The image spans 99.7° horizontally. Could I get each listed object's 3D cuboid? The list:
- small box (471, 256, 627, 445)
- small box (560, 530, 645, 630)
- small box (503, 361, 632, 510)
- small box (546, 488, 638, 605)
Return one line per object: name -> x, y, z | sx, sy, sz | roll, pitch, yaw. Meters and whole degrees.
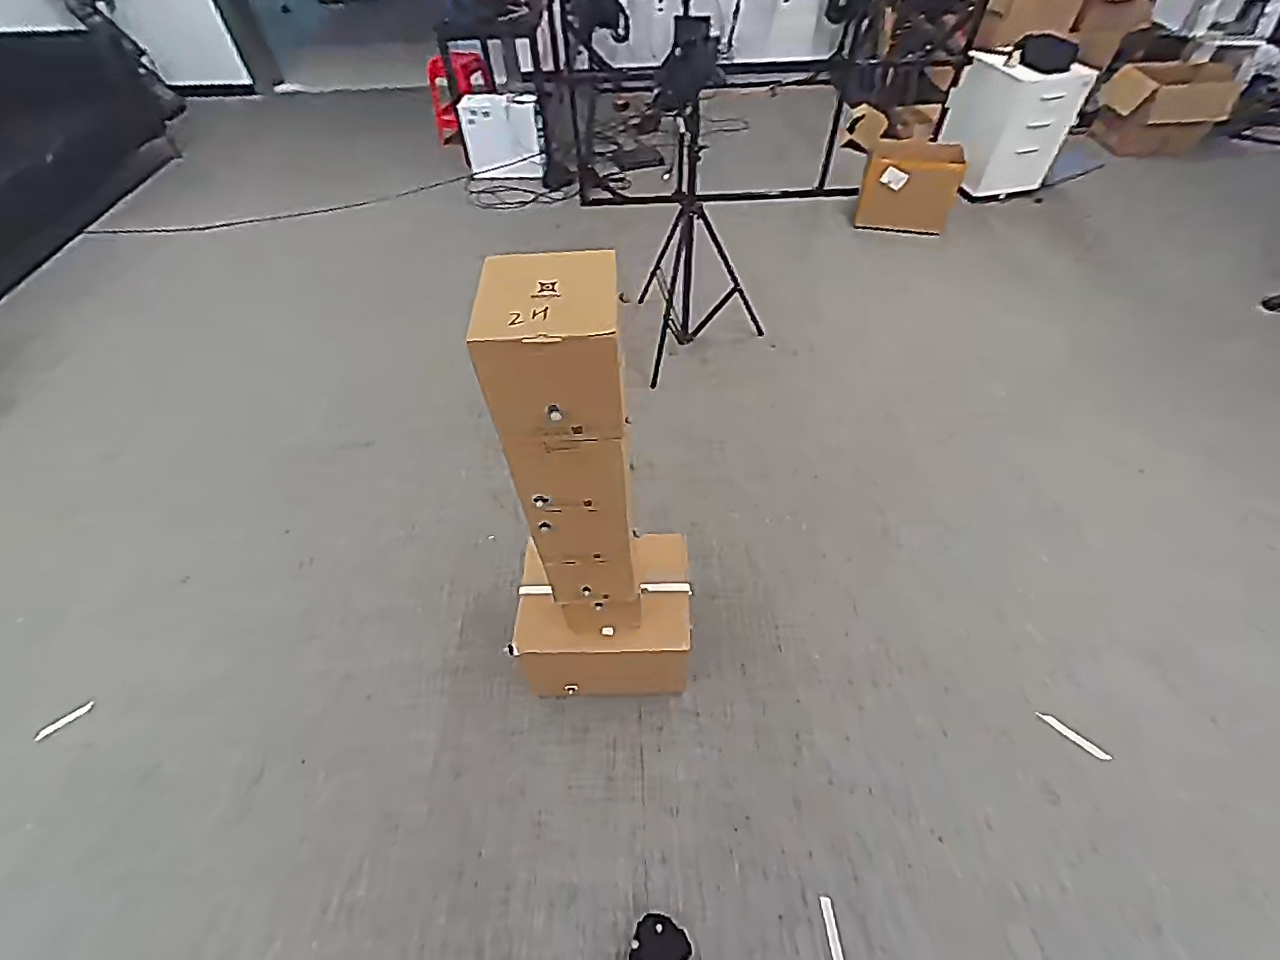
small box -> -0.104, -0.166, 0.702 | 0.168, 0.176, 0.179 | -3, 53, 0
small box -> -0.080, 0.230, 1.223 | 0.179, 0.176, 0.168 | -3, 52, -1
small box -> -0.099, -0.066, 0.832 | 0.168, 0.176, 0.179 | -1, 51, 2
small box -> -0.089, 0.136, 1.092 | 0.168, 0.176, 0.179 | -3, 52, 0
